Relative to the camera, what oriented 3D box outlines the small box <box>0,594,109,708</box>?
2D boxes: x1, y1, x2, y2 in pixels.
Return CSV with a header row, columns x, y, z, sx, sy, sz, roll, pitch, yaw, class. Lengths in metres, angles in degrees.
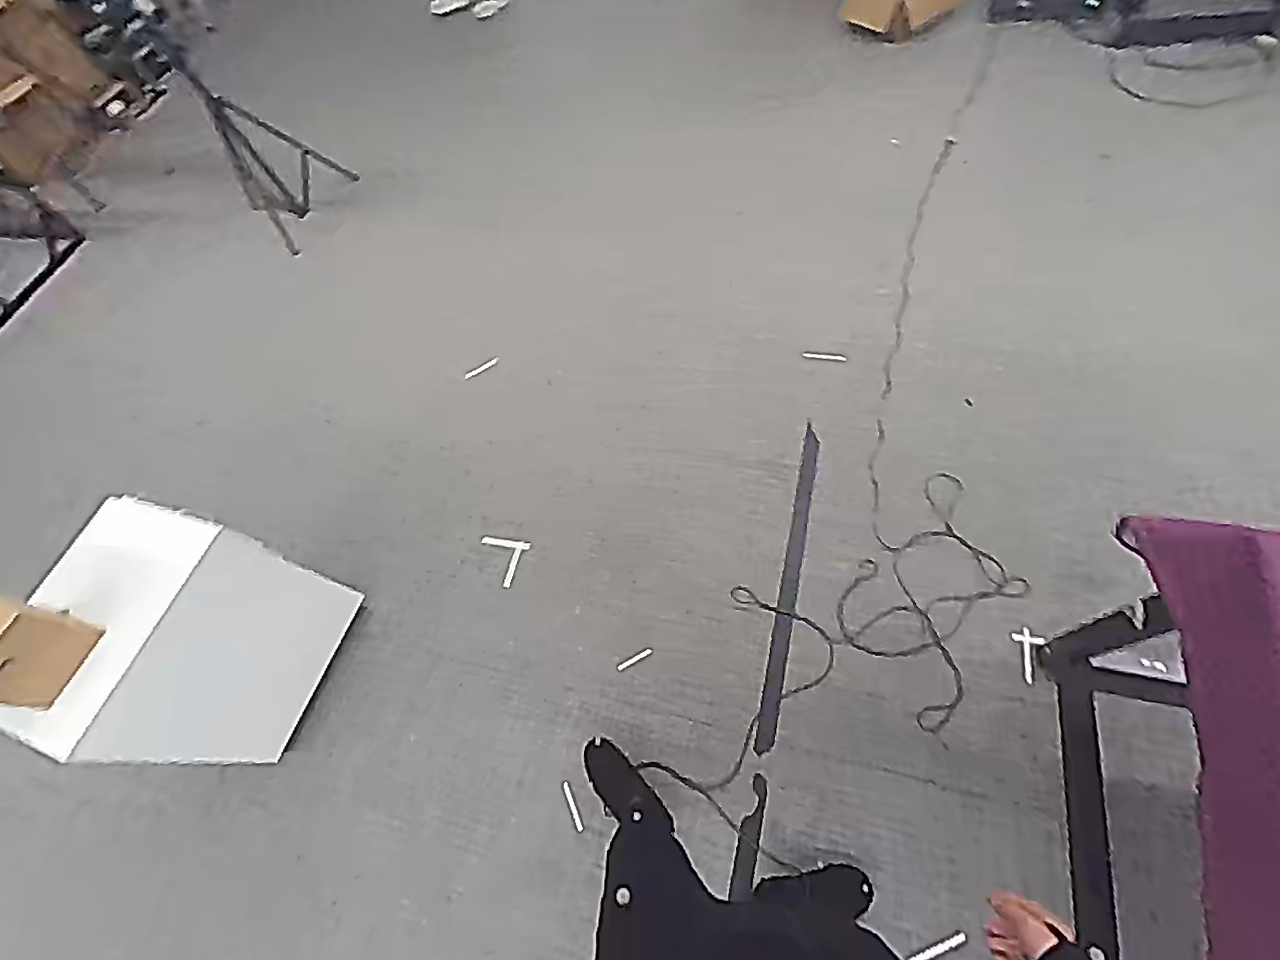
x,y,z,sx,sy,sz,roll,pitch,yaw,class
-1.287,0.357,1.123,0.168,0.176,0.179,13,64,17,small box
